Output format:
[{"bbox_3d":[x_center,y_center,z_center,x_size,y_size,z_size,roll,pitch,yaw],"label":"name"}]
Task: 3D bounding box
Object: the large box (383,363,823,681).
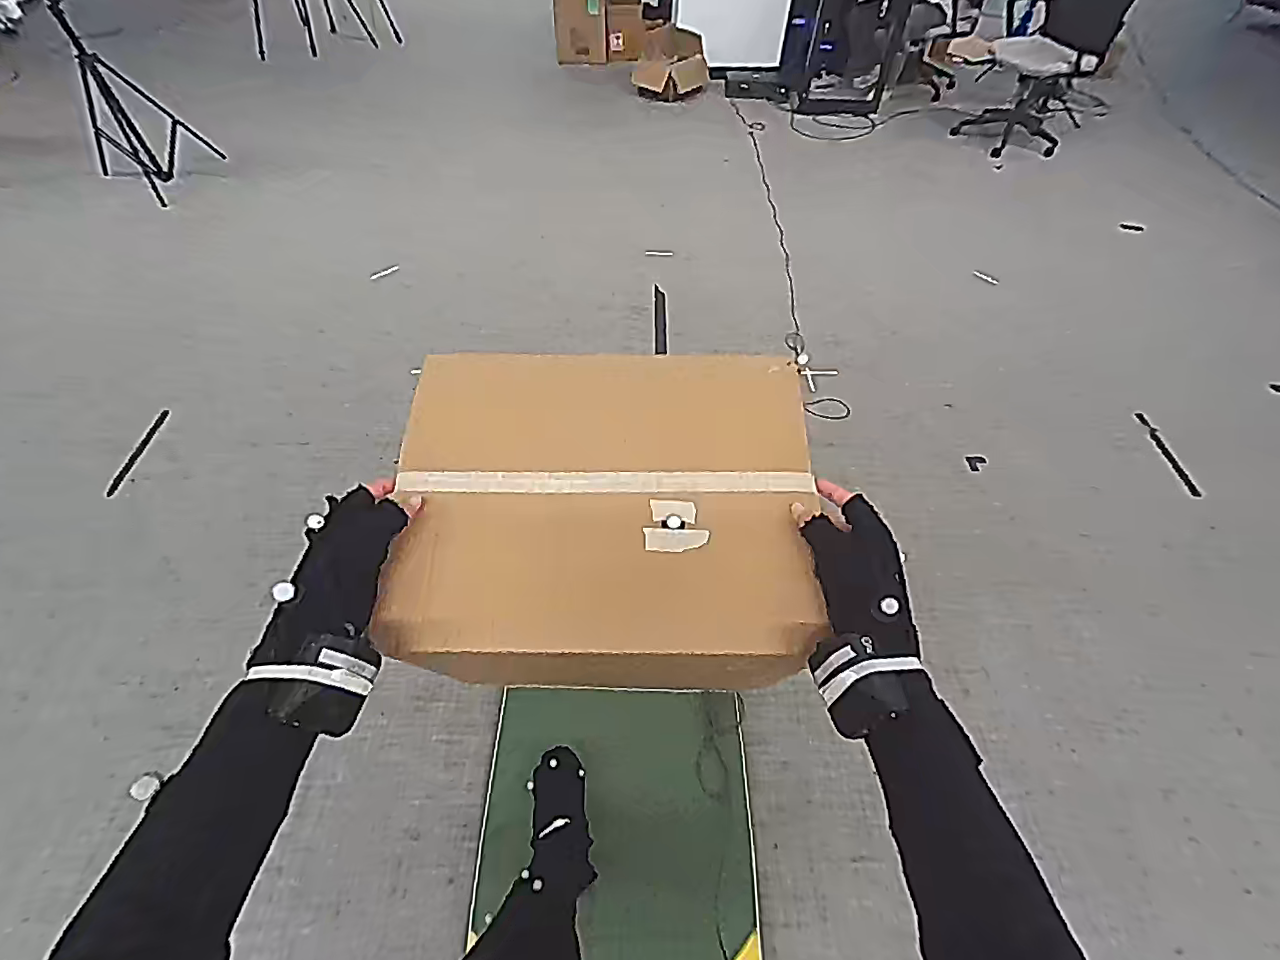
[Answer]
[{"bbox_3d":[-0.036,0.071,0.679,0.408,0.320,0.320,0,65,0],"label":"large box"}]
